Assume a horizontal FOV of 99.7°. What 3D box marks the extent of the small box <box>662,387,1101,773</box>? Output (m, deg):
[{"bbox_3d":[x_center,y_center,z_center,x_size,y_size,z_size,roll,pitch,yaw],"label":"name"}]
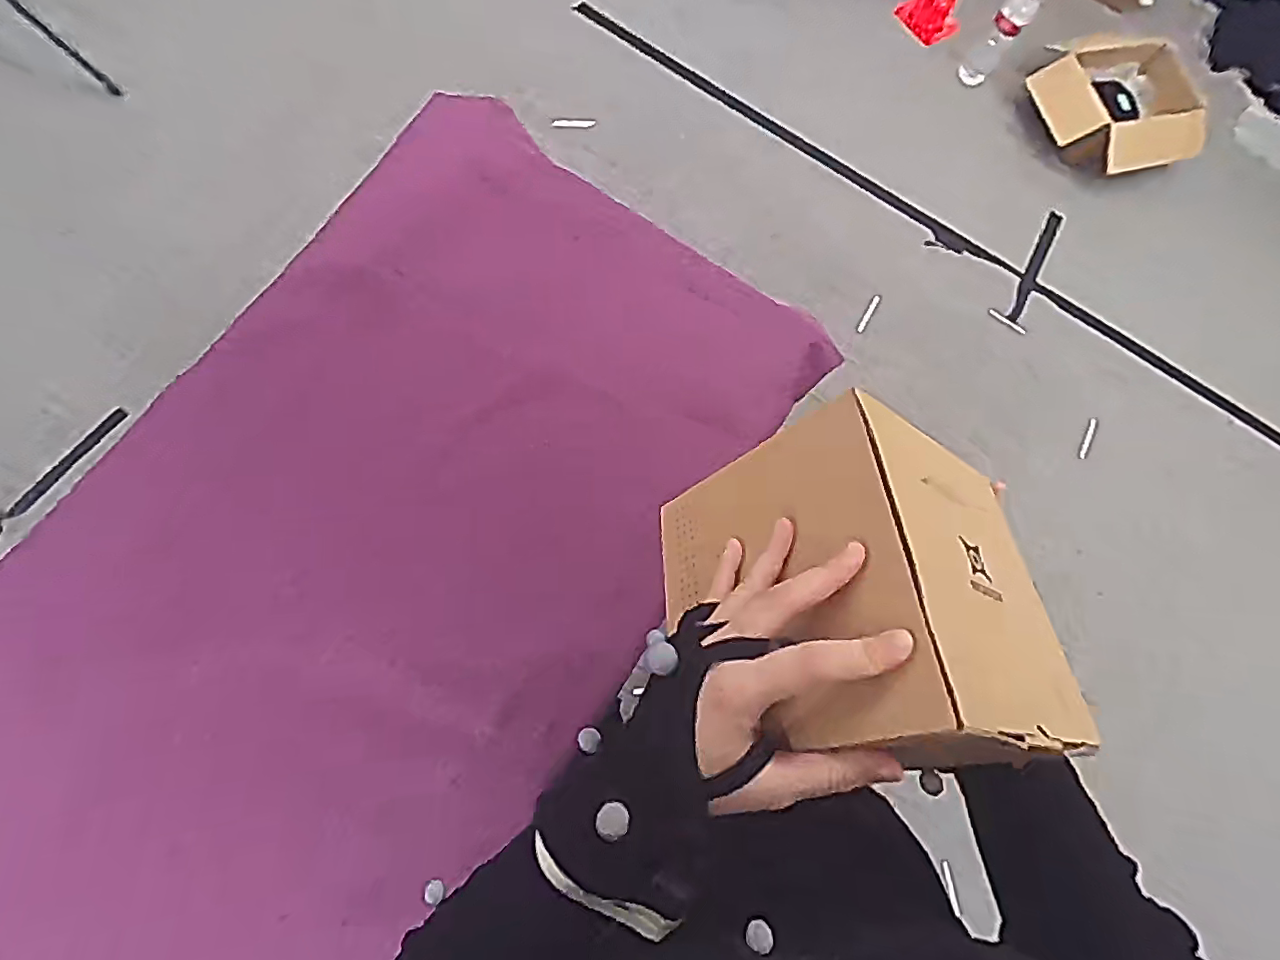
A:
[{"bbox_3d":[0.130,0.081,0.343,0.168,0.176,0.179,22,49,-33],"label":"small box"}]
